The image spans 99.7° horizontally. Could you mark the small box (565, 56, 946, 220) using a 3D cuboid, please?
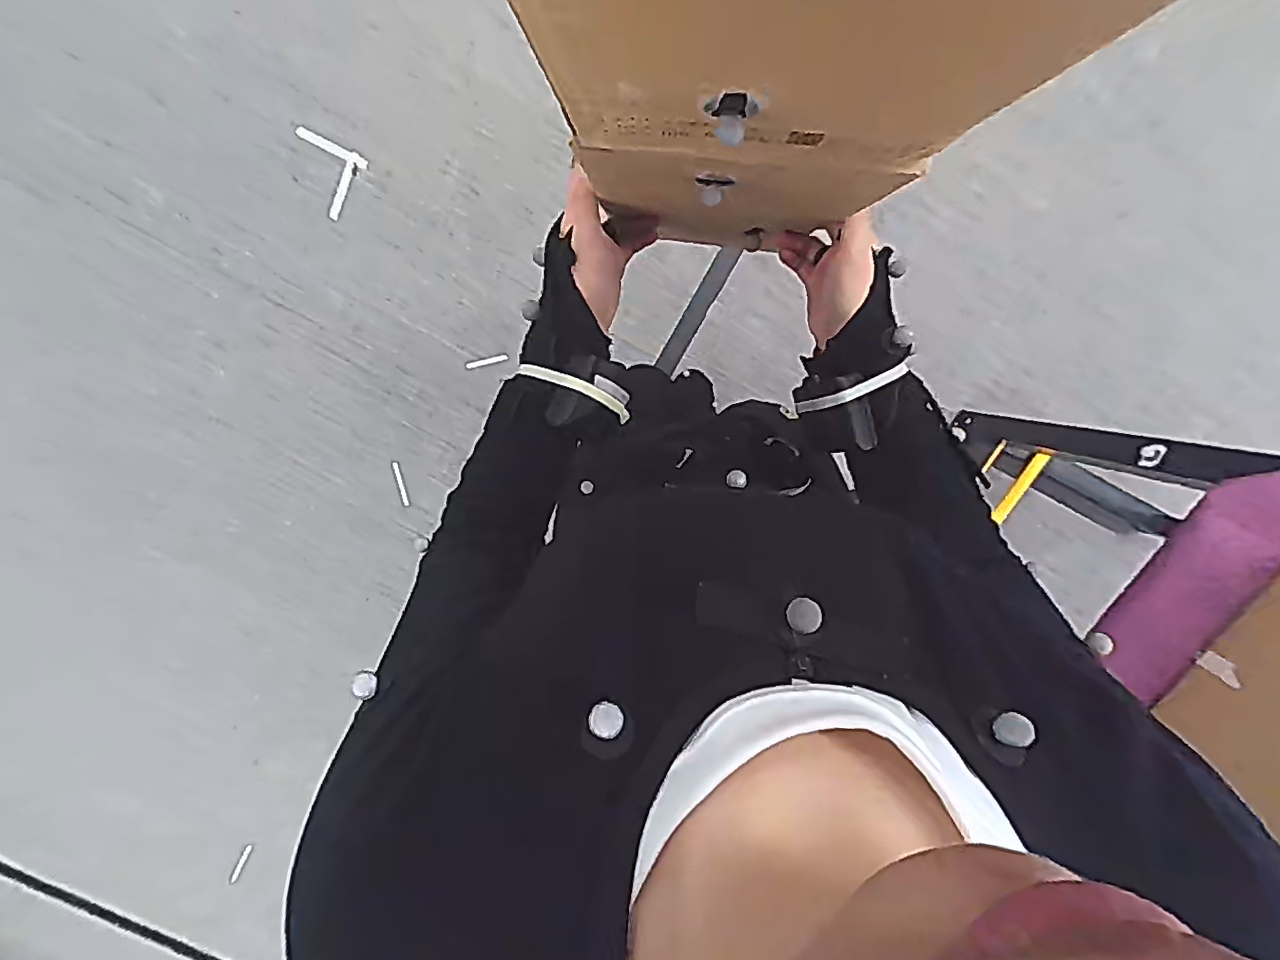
[{"bbox_3d":[0.062,-0.254,0.305,0.179,0.176,0.168,5,107,1],"label":"small box"}]

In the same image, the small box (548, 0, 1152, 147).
[{"bbox_3d":[0.053,-0.216,0.146,0.168,0.176,0.179,4,107,2],"label":"small box"}]
